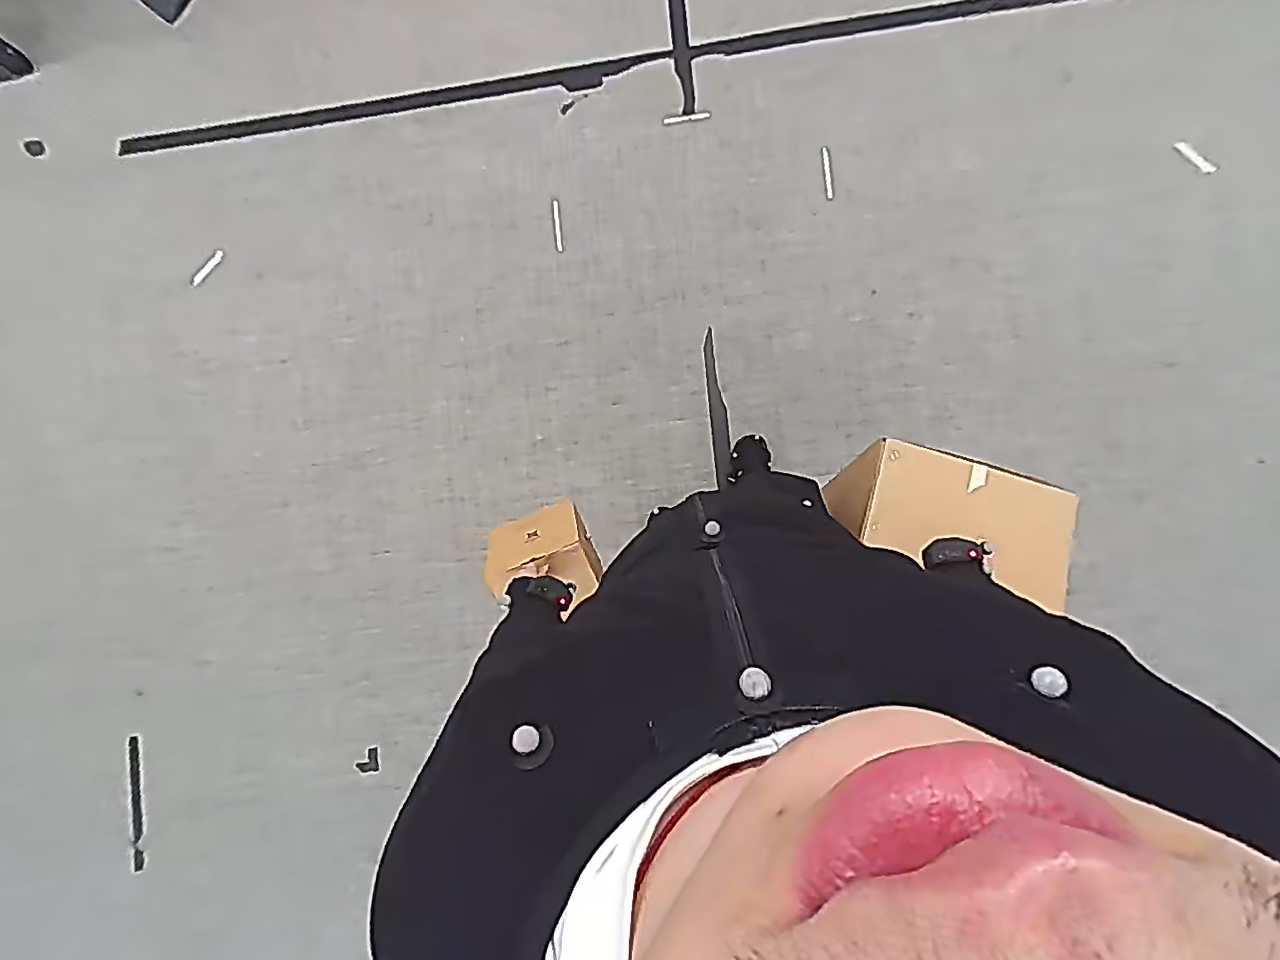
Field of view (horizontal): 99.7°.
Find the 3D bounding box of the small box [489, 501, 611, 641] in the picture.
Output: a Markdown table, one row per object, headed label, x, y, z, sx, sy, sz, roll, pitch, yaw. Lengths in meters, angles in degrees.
| label | x | y | z | sx | sy | sz | roll | pitch | yaw |
| --- | --- | --- | --- | --- | --- | --- | --- | --- | --- |
| small box | -0.161 | 0.170 | 0.995 | 0.168 | 0.179 | 0.176 | -21 | 114 | -1 |
